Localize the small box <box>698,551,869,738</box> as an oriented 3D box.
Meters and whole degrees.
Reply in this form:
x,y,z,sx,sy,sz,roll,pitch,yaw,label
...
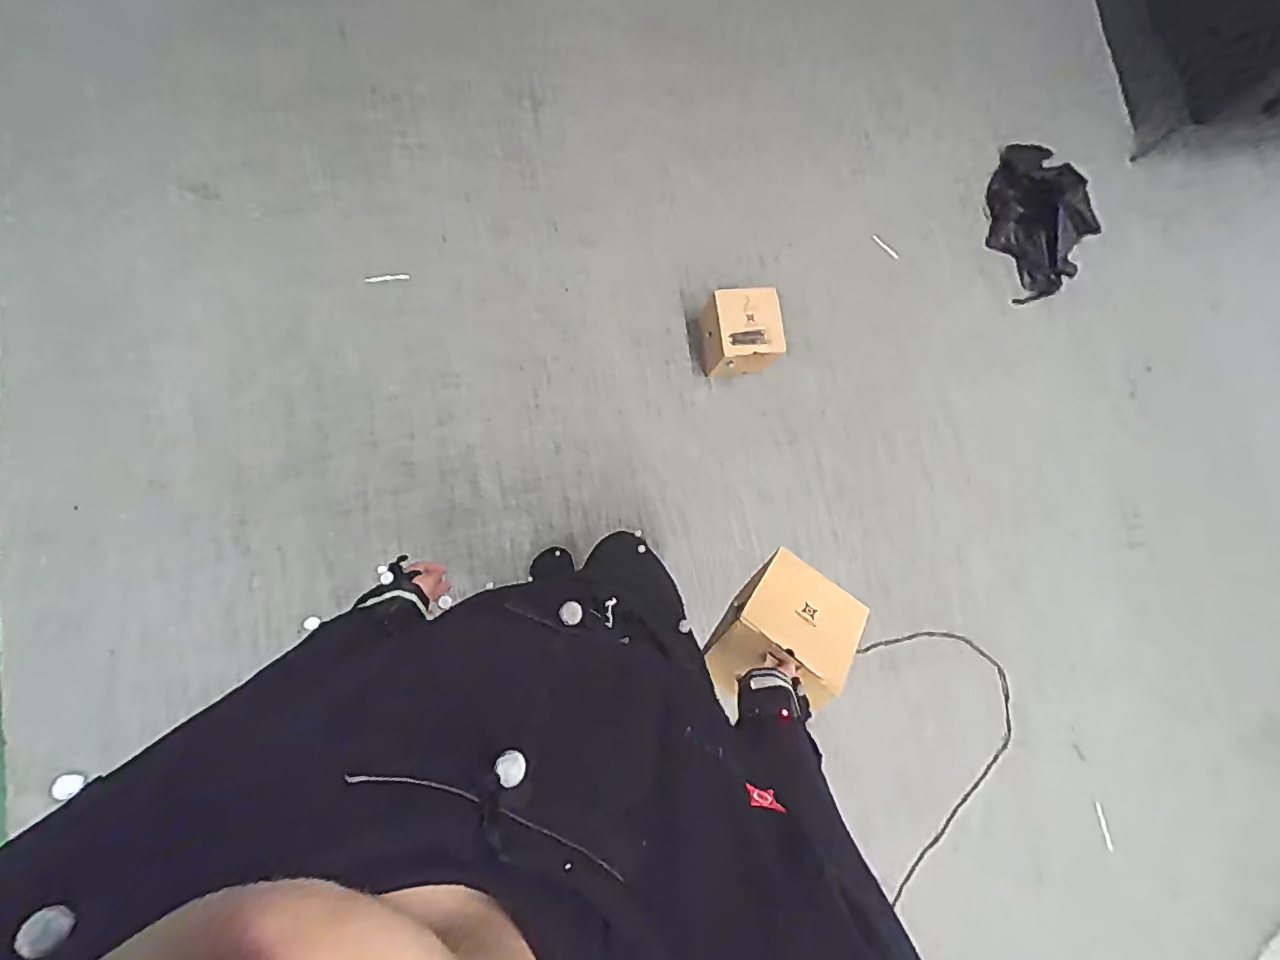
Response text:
x,y,z,sx,sy,sz,roll,pitch,yaw,label
0.212,0.249,0.823,0.168,0.176,0.179,36,43,10,small box
